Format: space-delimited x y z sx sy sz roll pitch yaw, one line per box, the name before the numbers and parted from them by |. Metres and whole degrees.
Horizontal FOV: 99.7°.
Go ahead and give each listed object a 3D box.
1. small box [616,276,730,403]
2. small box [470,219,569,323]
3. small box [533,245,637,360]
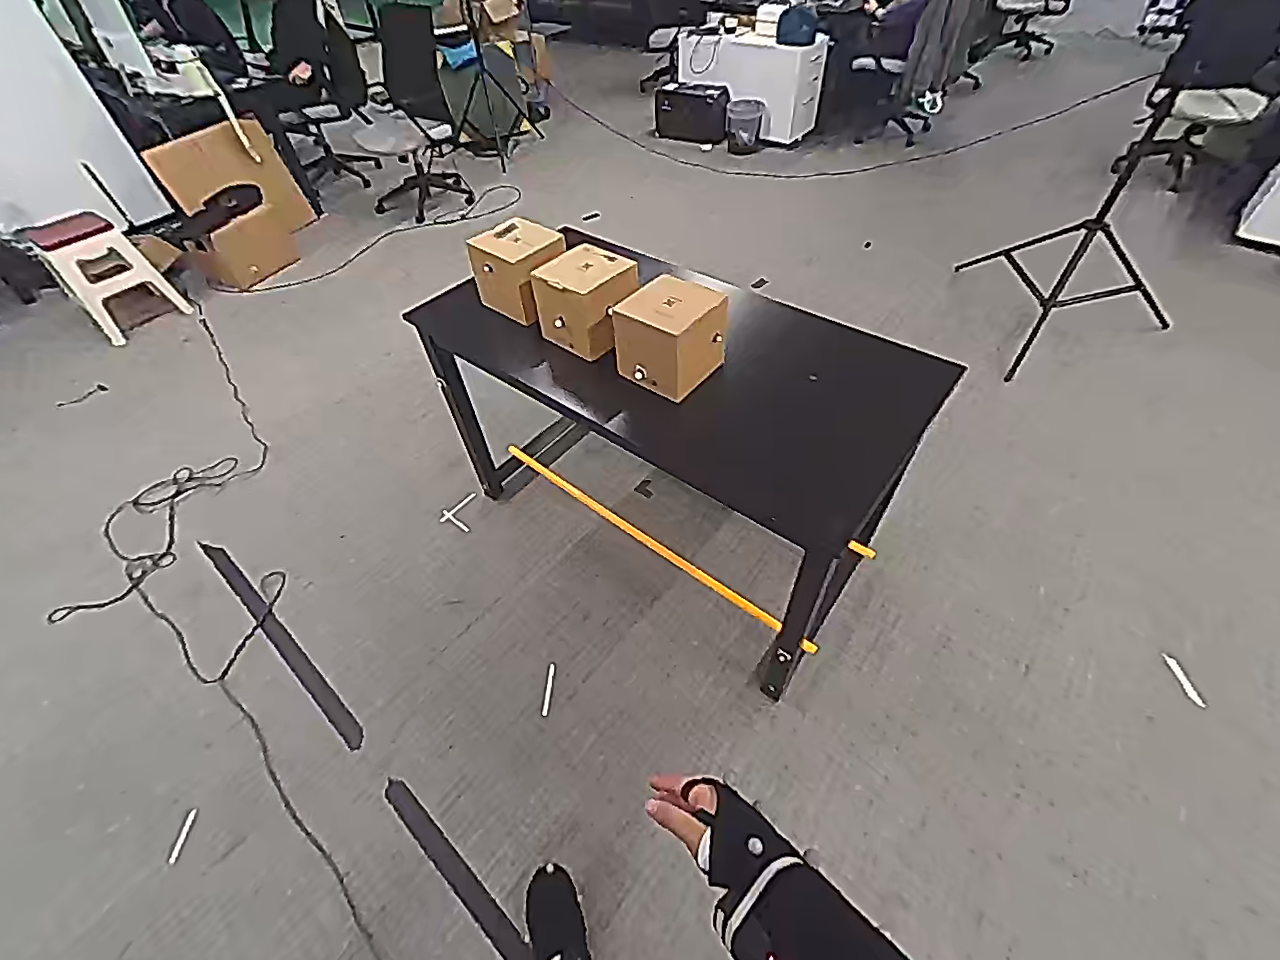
small box | 0.070 -0.296 1.140 0.168 0.176 0.179 29 57 27
small box | -0.289 -0.518 1.348 0.179 0.176 0.168 31 58 26
small box | -0.116 -0.406 1.242 0.168 0.176 0.179 32 58 25
